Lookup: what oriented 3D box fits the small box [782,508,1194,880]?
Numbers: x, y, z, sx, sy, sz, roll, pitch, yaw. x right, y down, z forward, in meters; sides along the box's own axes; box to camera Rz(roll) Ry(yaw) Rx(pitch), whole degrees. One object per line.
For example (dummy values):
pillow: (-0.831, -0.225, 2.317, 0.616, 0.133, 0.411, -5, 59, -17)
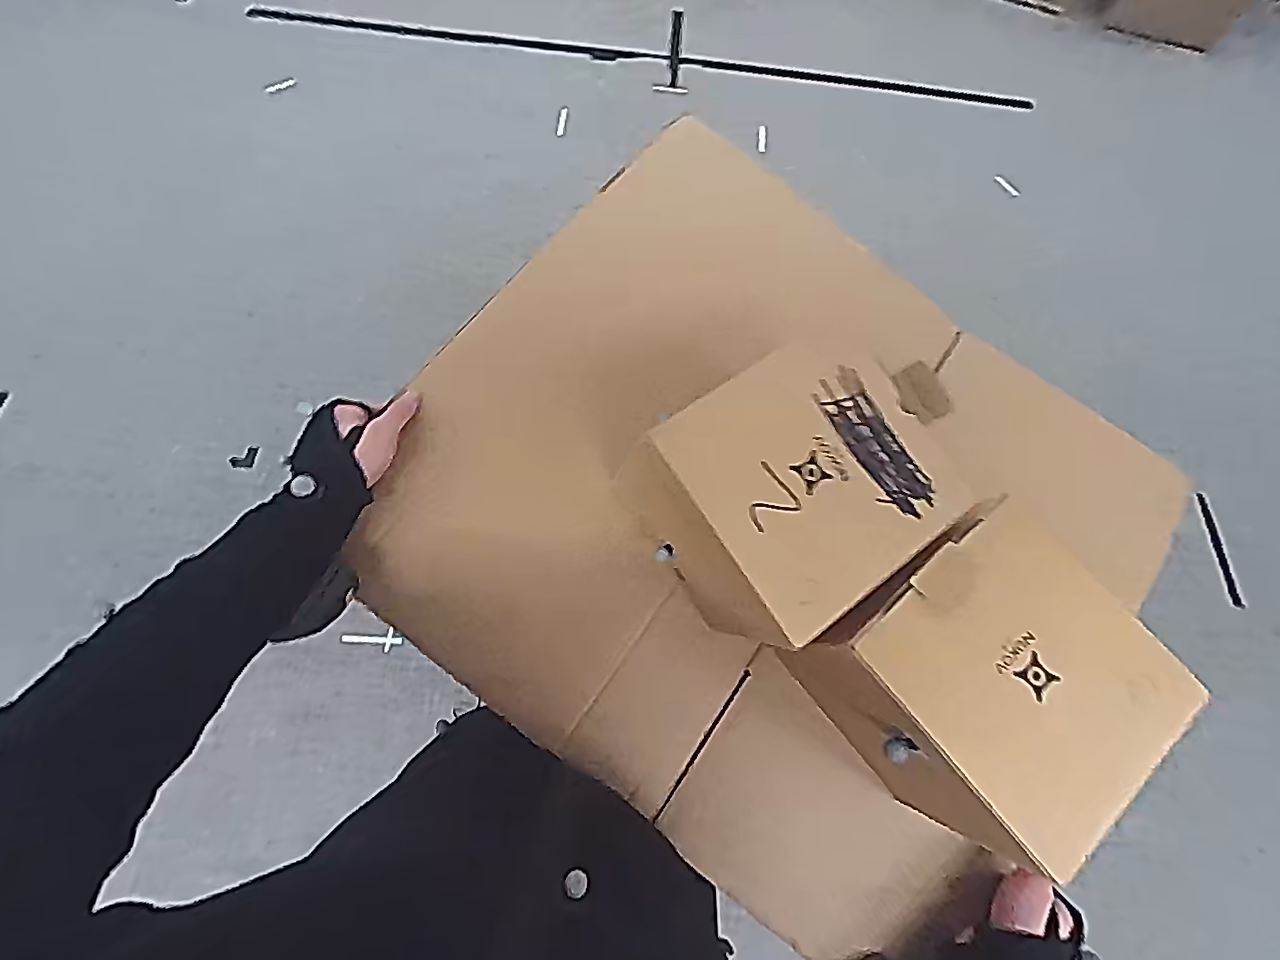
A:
small box: (0.248, 0.152, 0.433, 0.168, 0.176, 0.179, -38, 79, -13)
